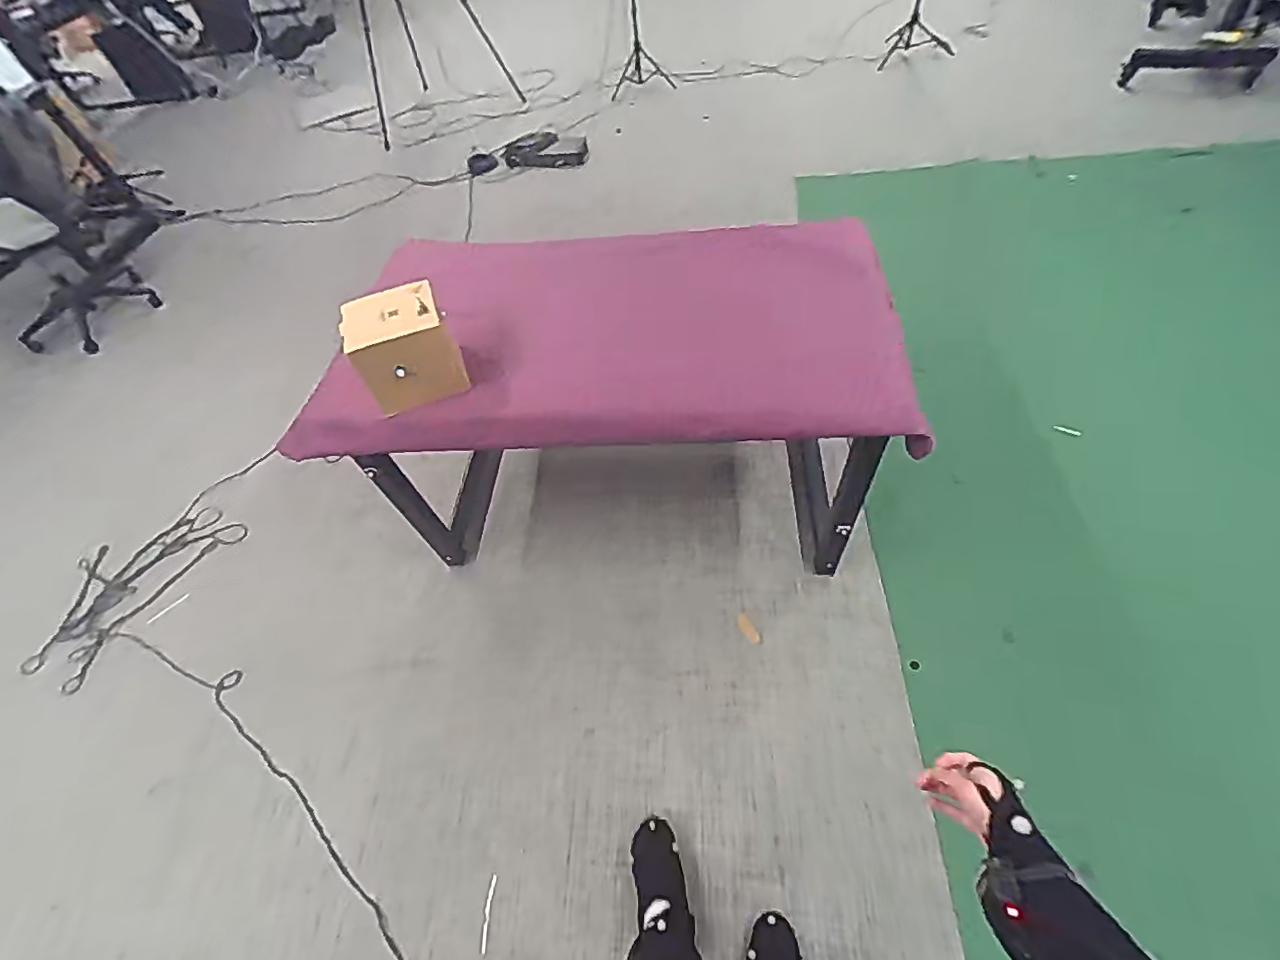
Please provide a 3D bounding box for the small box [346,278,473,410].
[{"bbox_3d":[-0.458,-0.267,1.082,0.179,0.176,0.168,-20,54,-7],"label":"small box"}]
